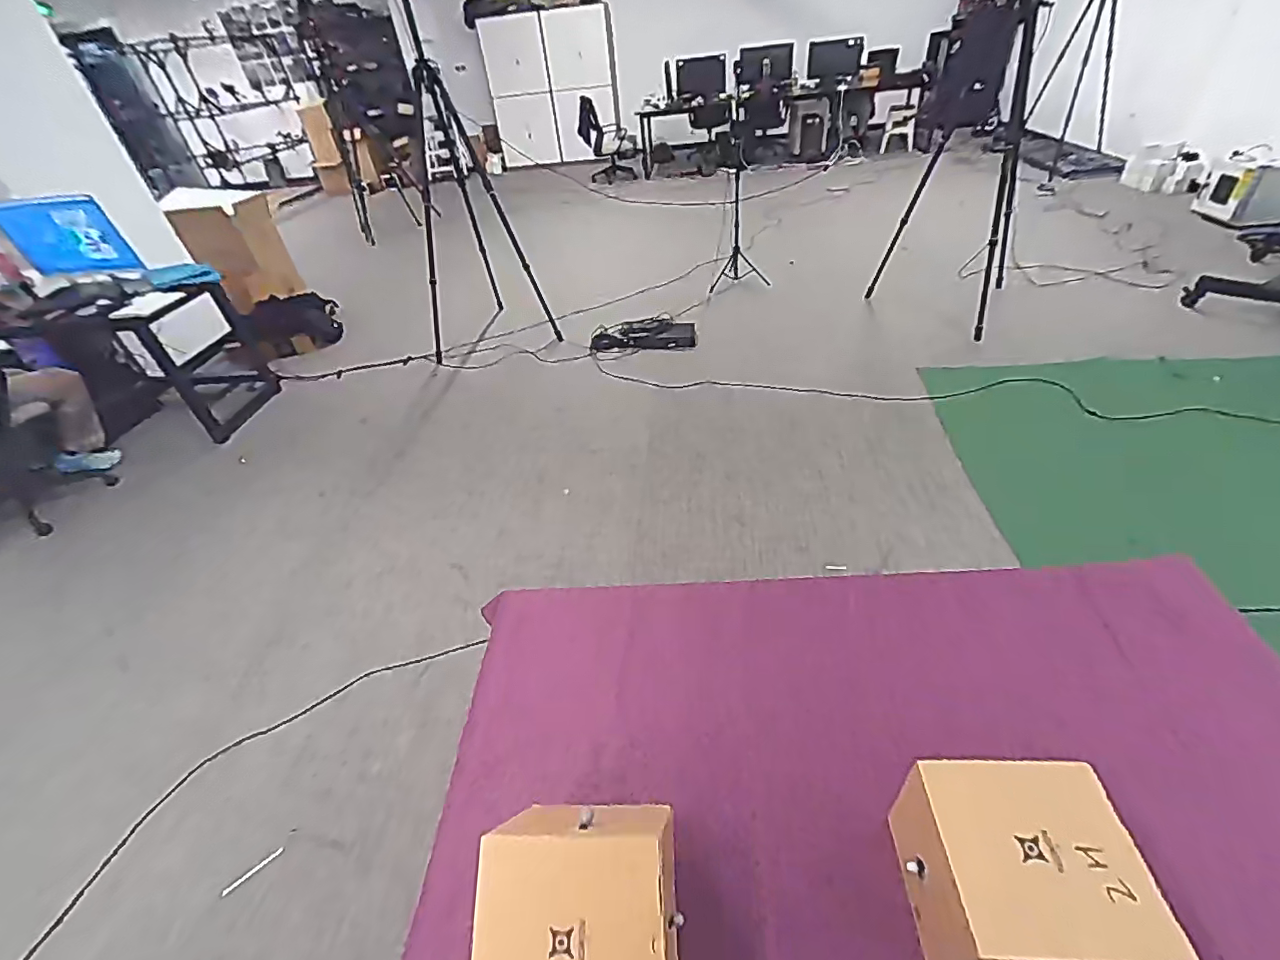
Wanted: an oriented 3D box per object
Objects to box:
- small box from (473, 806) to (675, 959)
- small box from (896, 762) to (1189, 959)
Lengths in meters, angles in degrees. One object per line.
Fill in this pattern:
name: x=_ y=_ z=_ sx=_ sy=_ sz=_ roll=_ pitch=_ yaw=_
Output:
small box: x=-0.057 y=0.446 z=0.555 sx=0.179 sy=0.176 sz=0.168 roll=-3 pitch=68 yaw=4
small box: x=0.385 y=0.418 z=0.566 sx=0.179 sy=0.176 sz=0.168 roll=-2 pitch=40 yaw=6
